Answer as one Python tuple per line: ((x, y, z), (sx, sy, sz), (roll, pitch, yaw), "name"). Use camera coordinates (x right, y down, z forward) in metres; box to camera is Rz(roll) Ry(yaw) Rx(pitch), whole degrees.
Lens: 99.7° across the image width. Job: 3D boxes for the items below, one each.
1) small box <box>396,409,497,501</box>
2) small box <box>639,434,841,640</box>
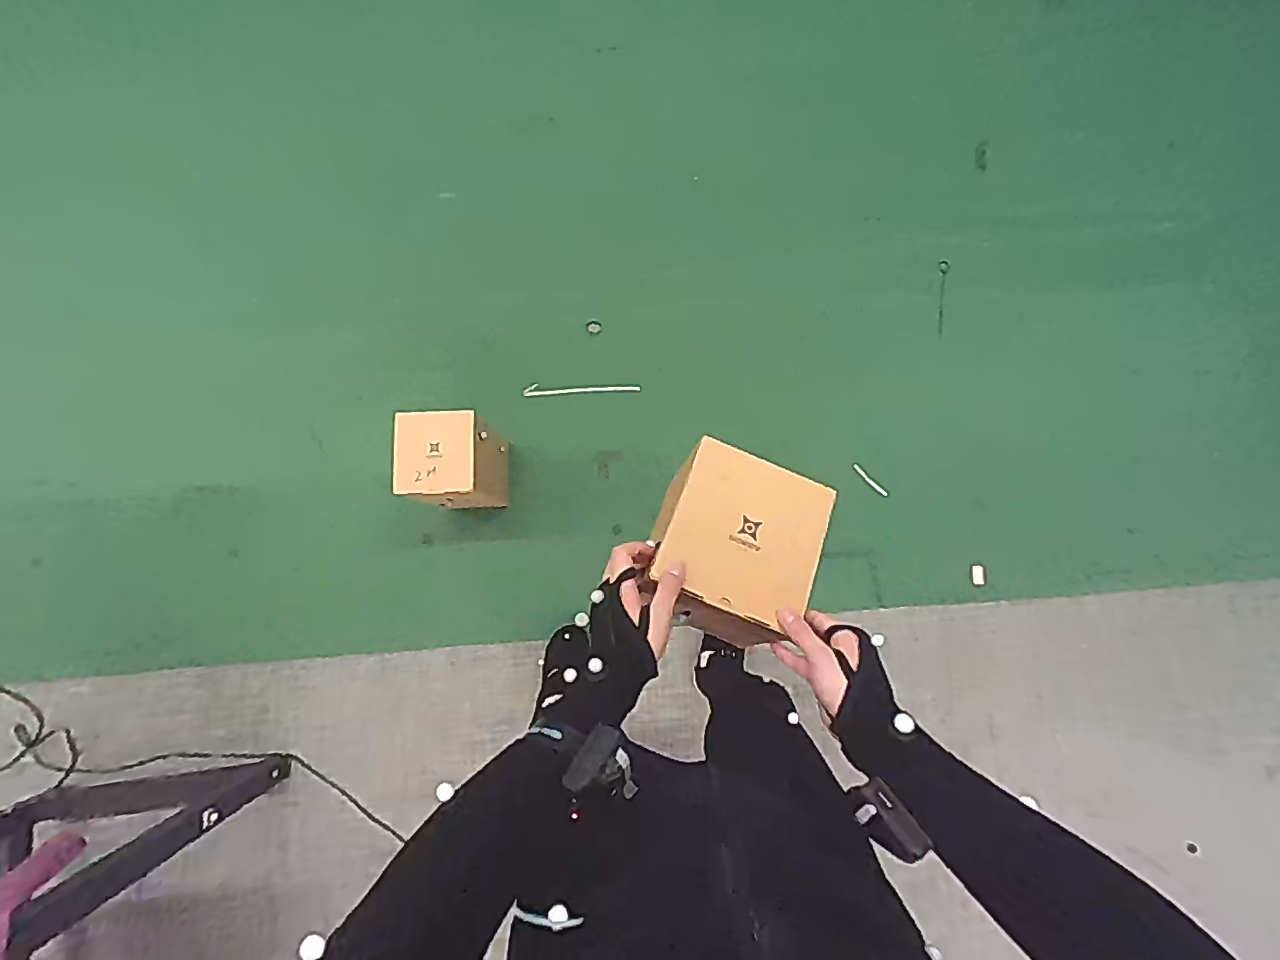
((-0.419, -0.050, 1.196), (0.168, 0.176, 0.179), (-1, 82, -1), "small box")
((0.109, 0.078, 0.649), (0.168, 0.176, 0.179), (23, 70, -1), "small box")
